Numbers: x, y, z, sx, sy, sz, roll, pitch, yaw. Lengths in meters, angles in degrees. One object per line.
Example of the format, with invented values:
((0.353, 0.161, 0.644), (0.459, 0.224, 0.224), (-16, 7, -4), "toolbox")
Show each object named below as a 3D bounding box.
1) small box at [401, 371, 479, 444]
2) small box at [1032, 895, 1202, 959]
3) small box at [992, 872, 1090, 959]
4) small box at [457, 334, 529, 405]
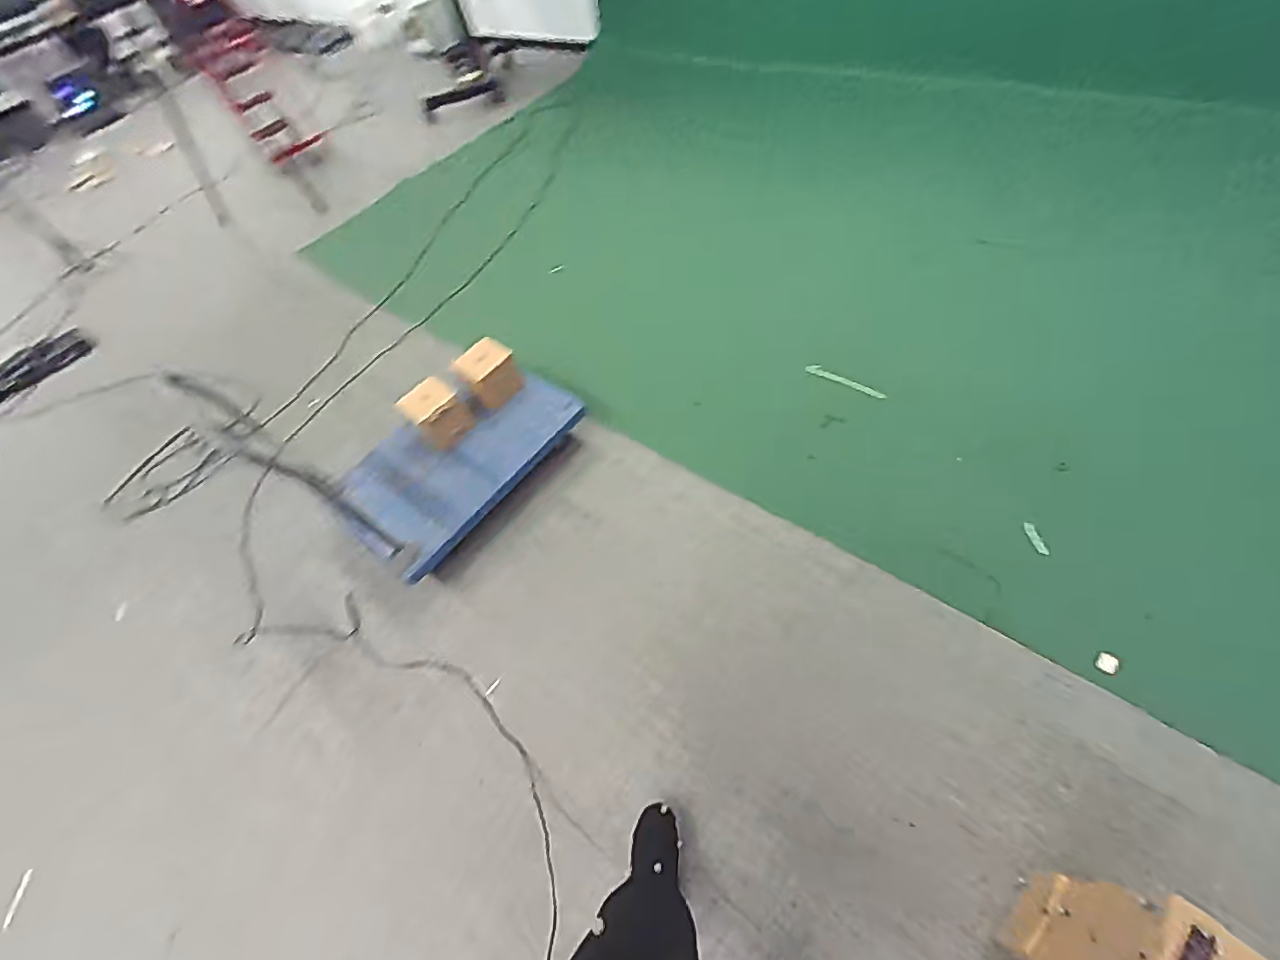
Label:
((-0.729, -0.262, 1.983), (0.179, 0.176, 0.168), (35, 69, 29), "small box")
((0.832, 0.838, 0.932), (0.179, 0.176, 0.168), (-16, 52, -1), "small box")
((0.841, 0.918, 1.066), (0.179, 0.176, 0.168), (37, 70, 29), "small box")
((-0.552, -0.416, 2.054), (0.168, 0.176, 0.179), (33, 68, 28), "small box")
